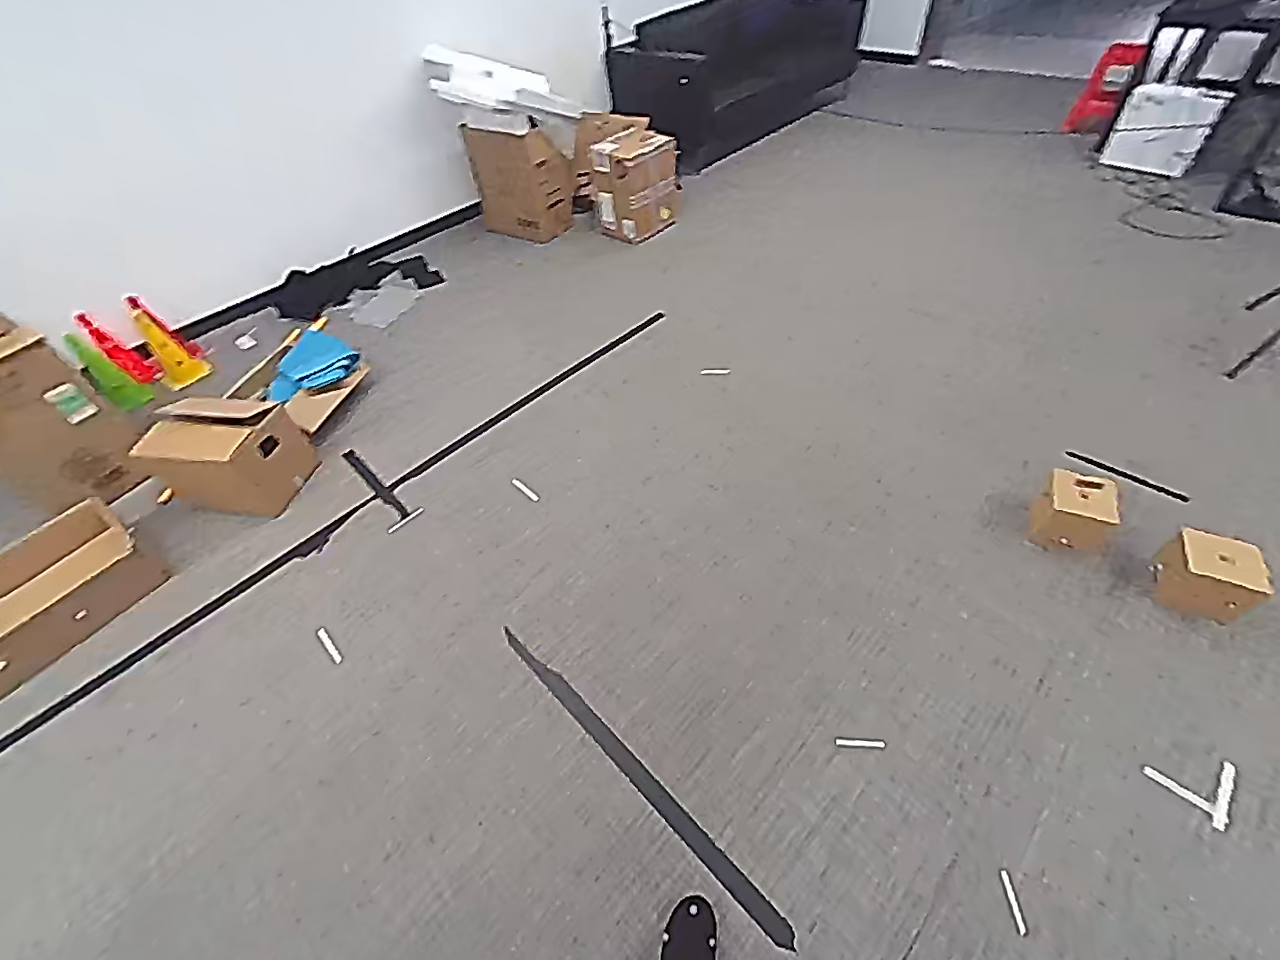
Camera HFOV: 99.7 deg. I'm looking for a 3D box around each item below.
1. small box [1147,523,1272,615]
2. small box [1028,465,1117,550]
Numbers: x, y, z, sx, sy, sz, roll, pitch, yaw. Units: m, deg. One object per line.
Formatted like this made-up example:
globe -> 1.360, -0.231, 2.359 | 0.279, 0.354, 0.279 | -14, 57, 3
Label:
small box -> 1.582, 0.253, 1.514 | 0.179, 0.176, 0.168 | 16, 51, 21
small box -> 1.342, 0.087, 1.691 | 0.168, 0.176, 0.179 | 16, 52, 20
